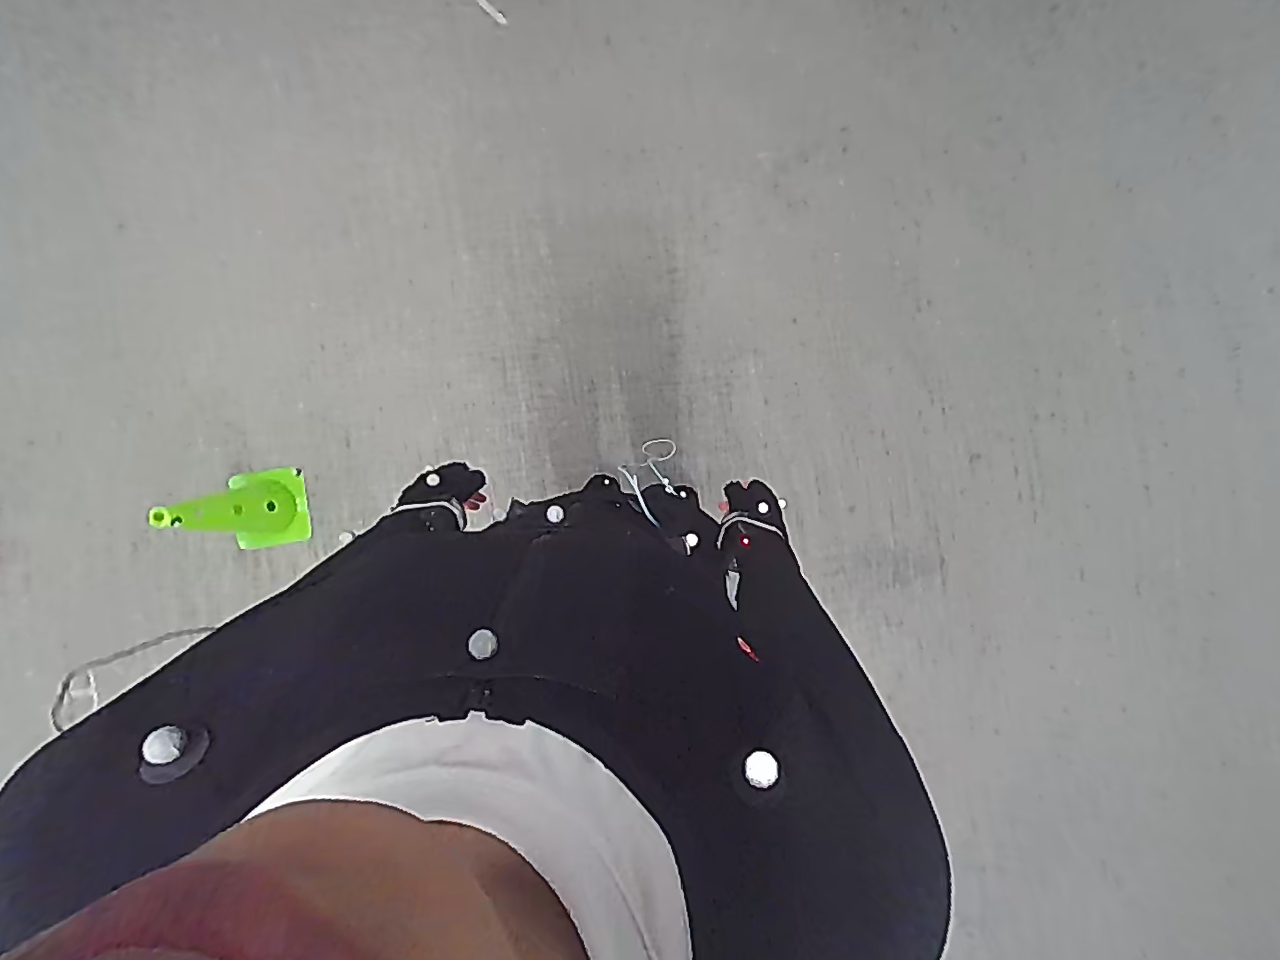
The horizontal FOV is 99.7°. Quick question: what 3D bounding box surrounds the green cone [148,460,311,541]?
[{"bbox_3d":[-0.996,0.060,1.284,0.200,0.368,0.202,-9,92,-1],"label":"green cone"}]
